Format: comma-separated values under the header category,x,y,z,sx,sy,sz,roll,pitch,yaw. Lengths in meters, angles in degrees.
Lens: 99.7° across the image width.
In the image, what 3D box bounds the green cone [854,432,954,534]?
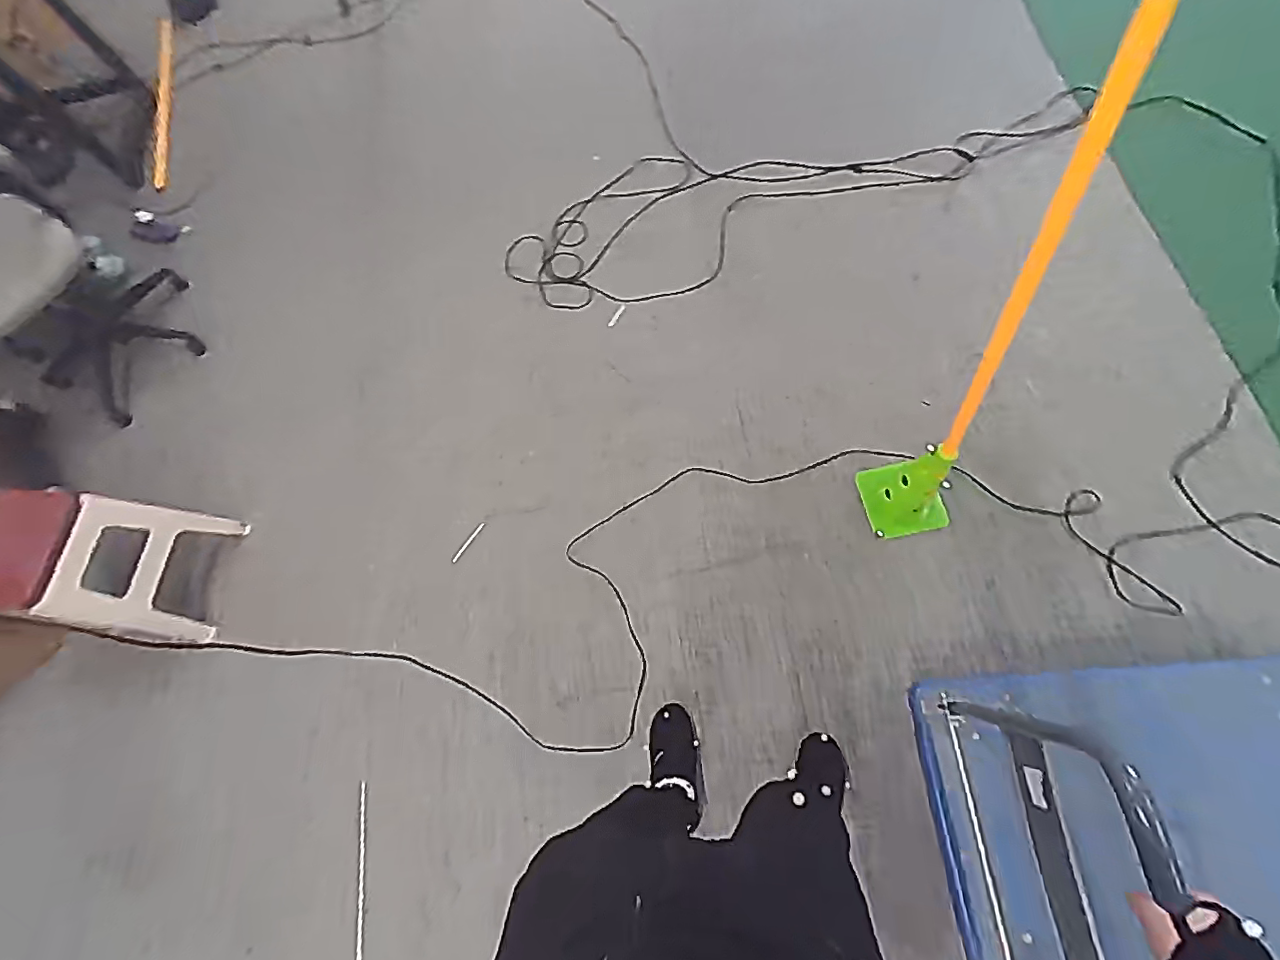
category,x,y,z,sx,sy,sz,roll,pitch,yaw
green cone,0.684,-0.021,1.317,0.200,0.368,0.202,-14,68,4
